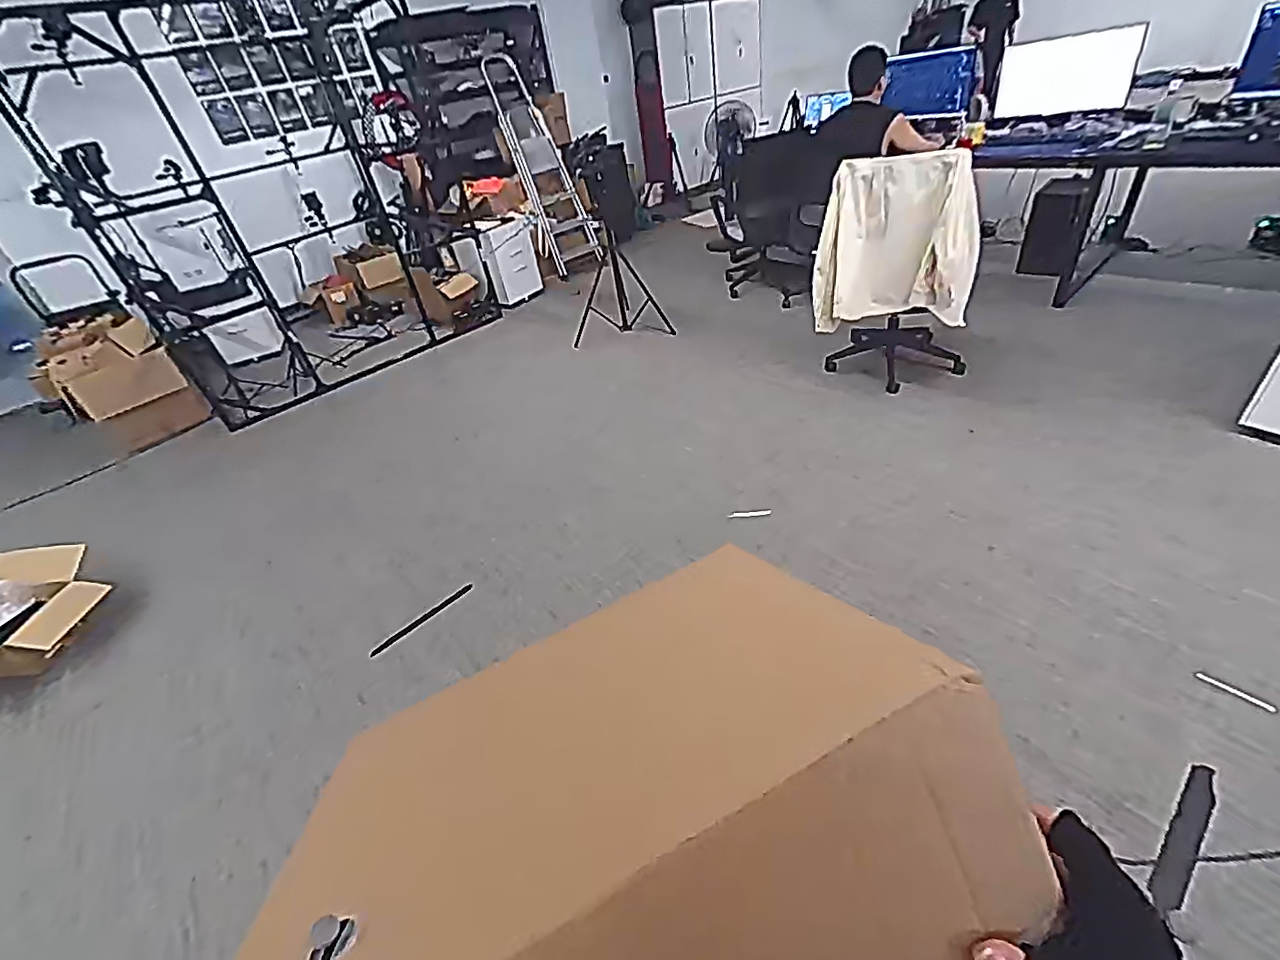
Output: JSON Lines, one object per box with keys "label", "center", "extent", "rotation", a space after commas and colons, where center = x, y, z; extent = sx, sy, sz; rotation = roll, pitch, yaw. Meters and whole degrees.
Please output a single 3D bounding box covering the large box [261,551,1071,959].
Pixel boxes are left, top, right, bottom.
{"label": "large box", "center": [0.014, 0.301, 0.412], "extent": [0.408, 0.320, 0.320], "rotation": [-26, 10, -9]}
